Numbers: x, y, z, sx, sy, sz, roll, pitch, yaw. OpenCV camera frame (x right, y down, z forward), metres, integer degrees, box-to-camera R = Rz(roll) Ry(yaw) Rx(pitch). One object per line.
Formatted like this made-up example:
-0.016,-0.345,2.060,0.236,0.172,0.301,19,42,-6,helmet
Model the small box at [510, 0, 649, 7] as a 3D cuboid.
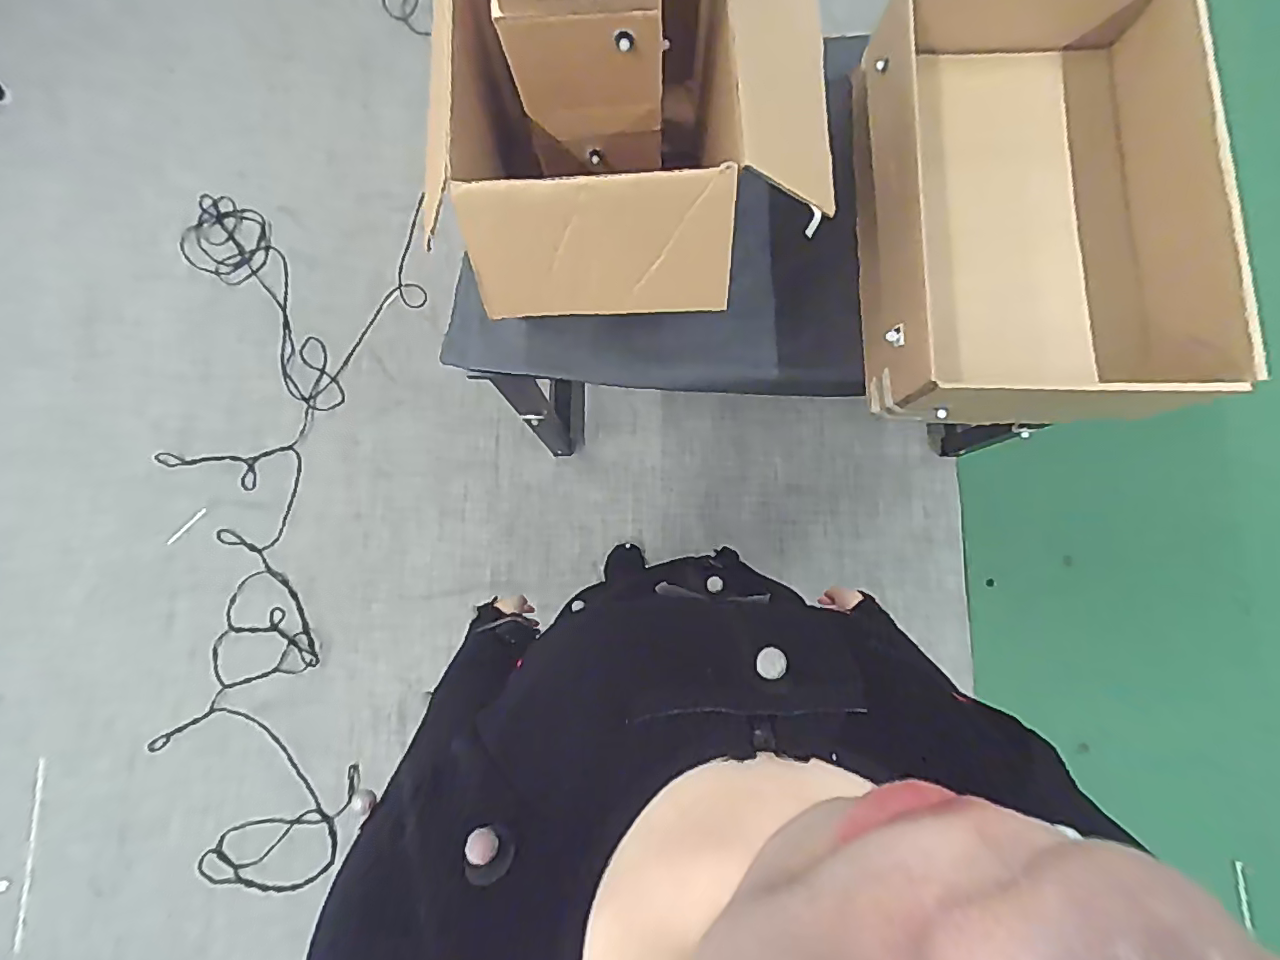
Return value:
-0.064,-0.570,0.471,0.168,0.176,0.179,0,85,2,small box
